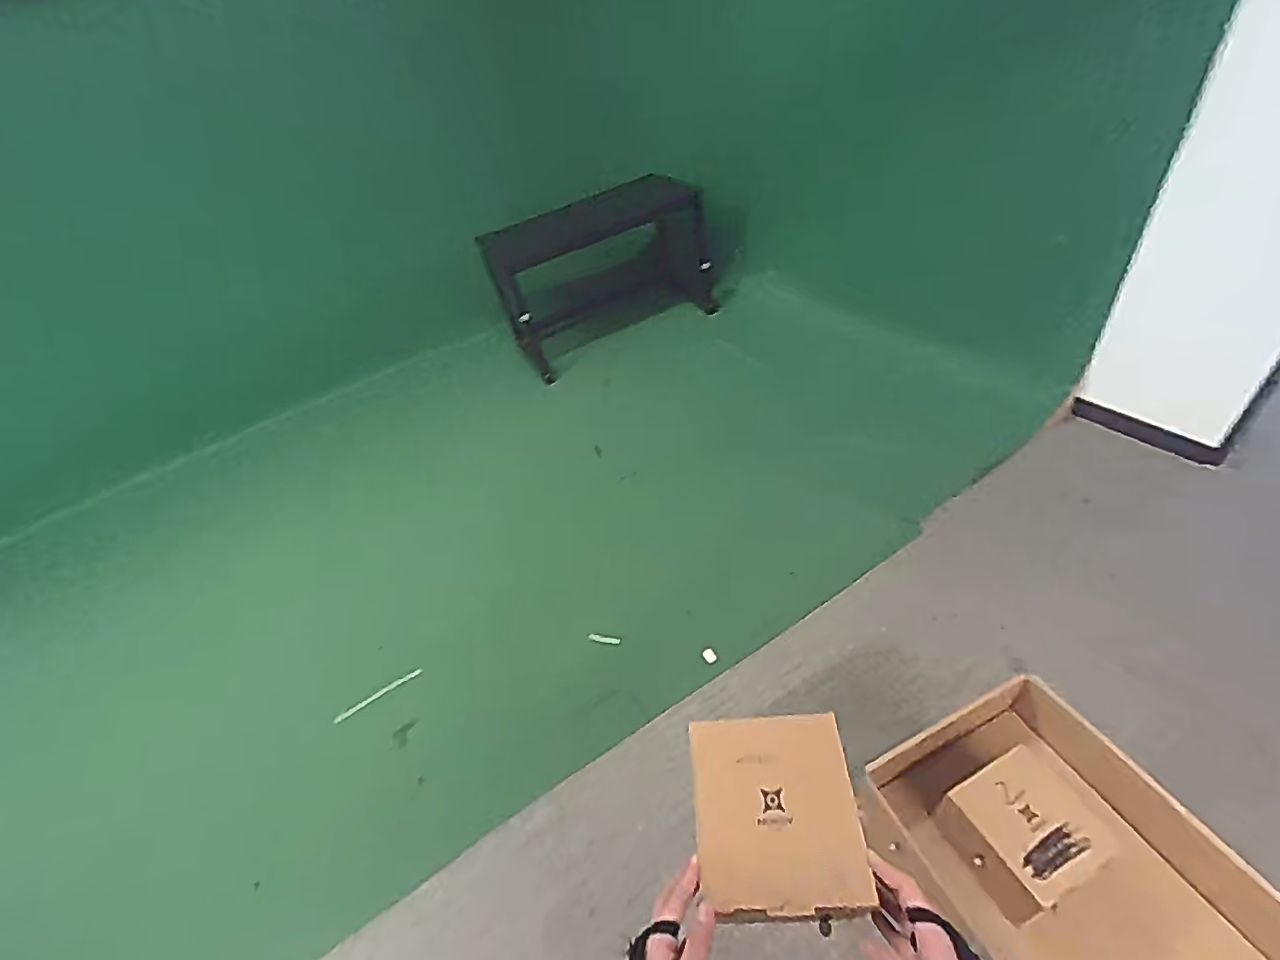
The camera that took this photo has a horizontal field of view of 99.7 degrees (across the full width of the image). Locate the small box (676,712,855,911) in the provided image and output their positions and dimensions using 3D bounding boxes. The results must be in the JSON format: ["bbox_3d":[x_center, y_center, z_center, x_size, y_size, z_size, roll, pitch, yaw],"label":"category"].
[{"bbox_3d":[0.137,0.387,0.625,0.168,0.176,0.179,-7,49,7],"label":"small box"}]
